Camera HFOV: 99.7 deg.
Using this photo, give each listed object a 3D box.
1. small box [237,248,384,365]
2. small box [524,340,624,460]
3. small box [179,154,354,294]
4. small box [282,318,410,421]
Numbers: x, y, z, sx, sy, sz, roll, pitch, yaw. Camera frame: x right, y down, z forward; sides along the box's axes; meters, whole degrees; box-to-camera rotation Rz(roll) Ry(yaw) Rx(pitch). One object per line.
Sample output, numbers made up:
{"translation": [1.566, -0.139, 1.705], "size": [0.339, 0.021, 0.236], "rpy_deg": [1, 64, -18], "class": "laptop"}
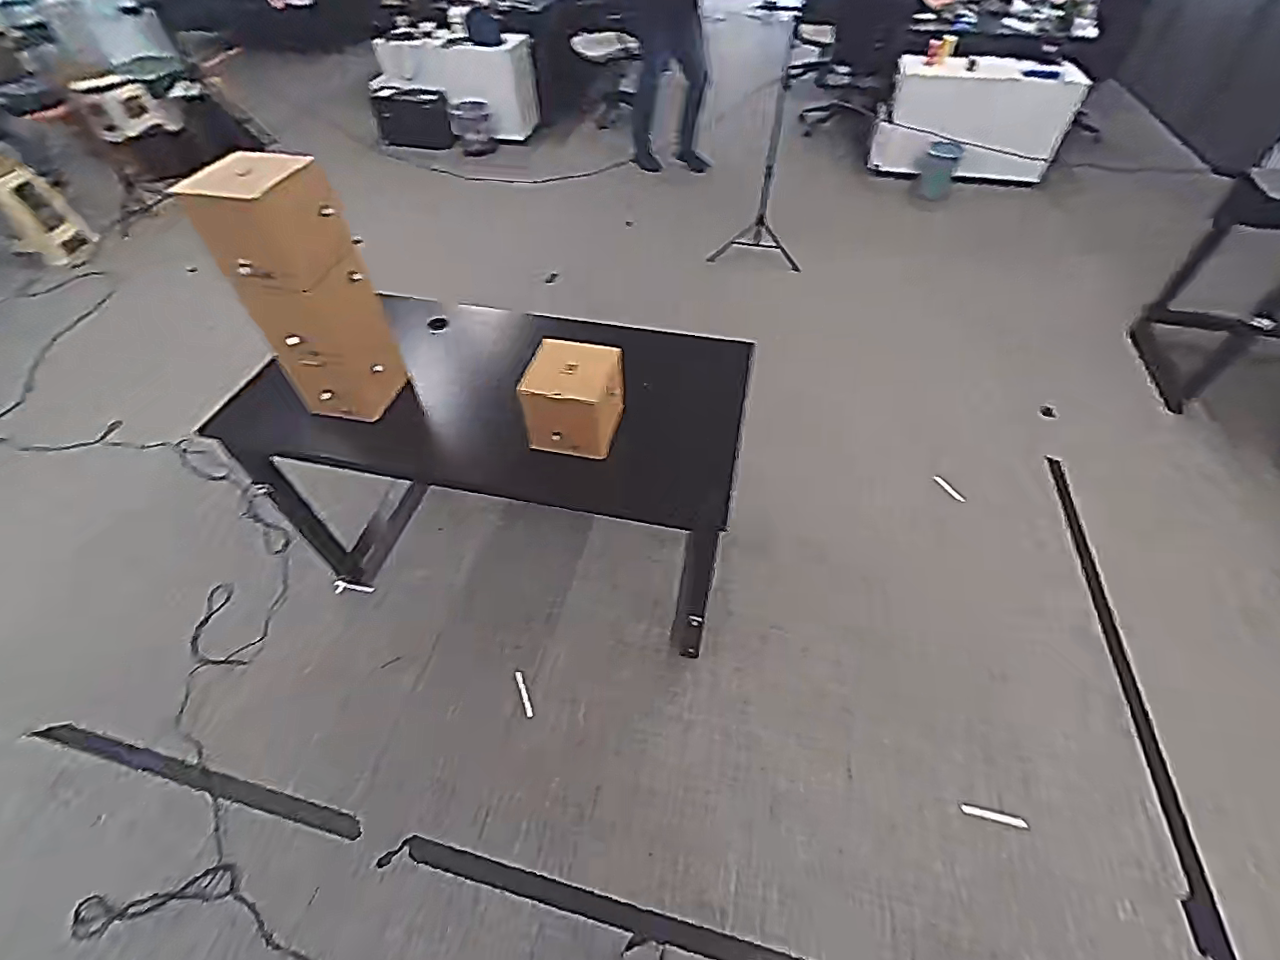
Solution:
{"translation": [-0.658, -0.363, 1.111], "size": [0.168, 0.176, 0.179], "rpy_deg": [9, 51, 8], "class": "small box"}
{"translation": [-0.132, -0.171, 1.161], "size": [0.168, 0.176, 0.179], "rpy_deg": [10, 52, 9], "class": "small box"}
{"translation": [-0.658, -0.466, 0.985], "size": [0.168, 0.176, 0.179], "rpy_deg": [8, 51, 9], "class": "small box"}
{"translation": [-0.657, -0.257, 1.237], "size": [0.168, 0.176, 0.179], "rpy_deg": [9, 52, 7], "class": "small box"}
